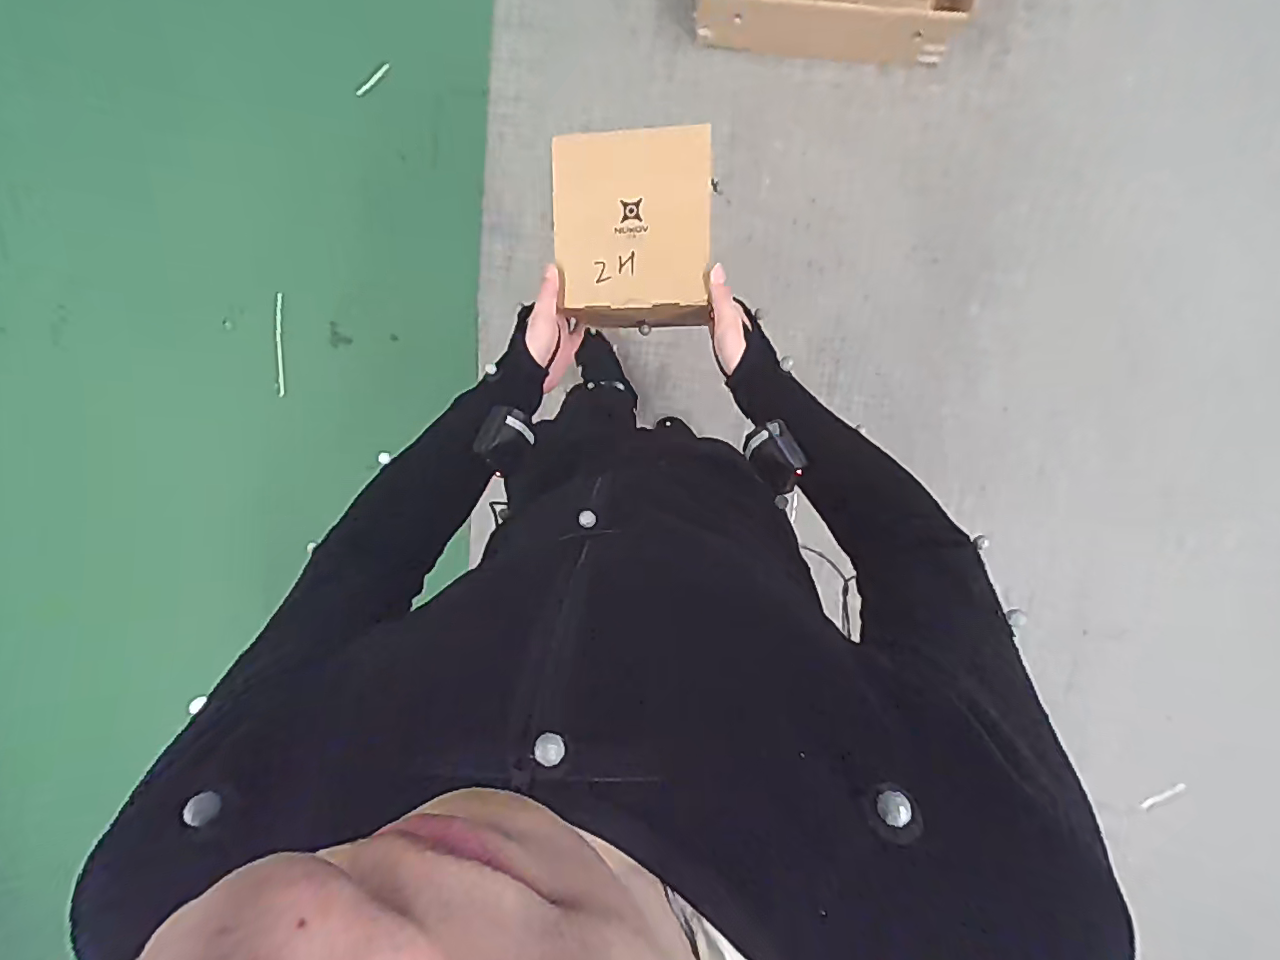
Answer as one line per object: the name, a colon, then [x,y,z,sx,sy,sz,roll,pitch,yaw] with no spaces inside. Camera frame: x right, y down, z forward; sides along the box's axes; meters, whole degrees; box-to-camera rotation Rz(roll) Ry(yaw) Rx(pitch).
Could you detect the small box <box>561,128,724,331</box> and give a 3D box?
small box: [0.010,-0.278,0.637,0.168,0.176,0.179,3,98,8]
